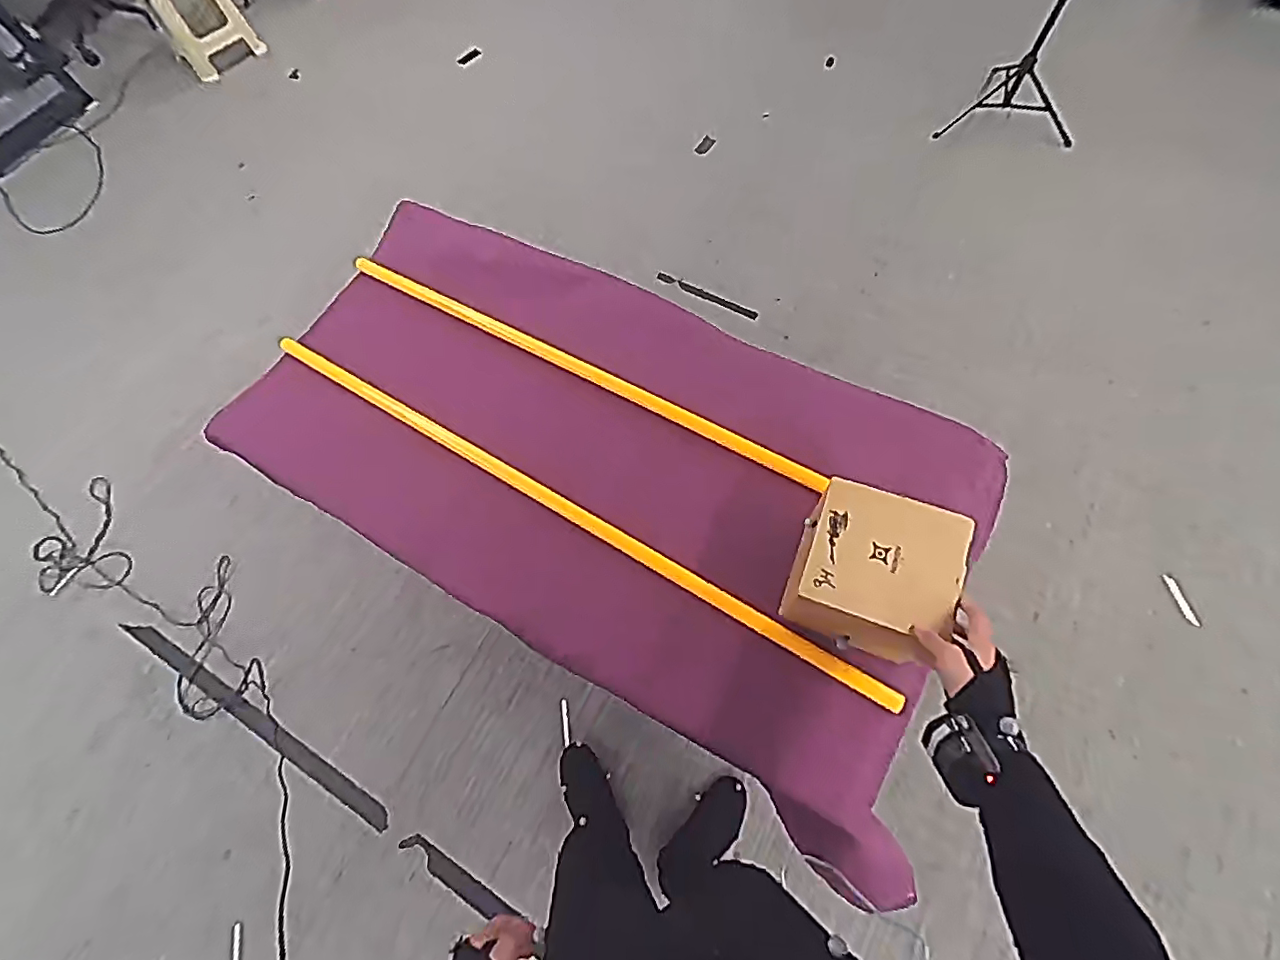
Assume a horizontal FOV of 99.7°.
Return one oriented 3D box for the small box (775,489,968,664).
[{"bbox_3d":[0.299,0.138,0.730,0.179,0.176,0.168,20,71,13],"label":"small box"}]
